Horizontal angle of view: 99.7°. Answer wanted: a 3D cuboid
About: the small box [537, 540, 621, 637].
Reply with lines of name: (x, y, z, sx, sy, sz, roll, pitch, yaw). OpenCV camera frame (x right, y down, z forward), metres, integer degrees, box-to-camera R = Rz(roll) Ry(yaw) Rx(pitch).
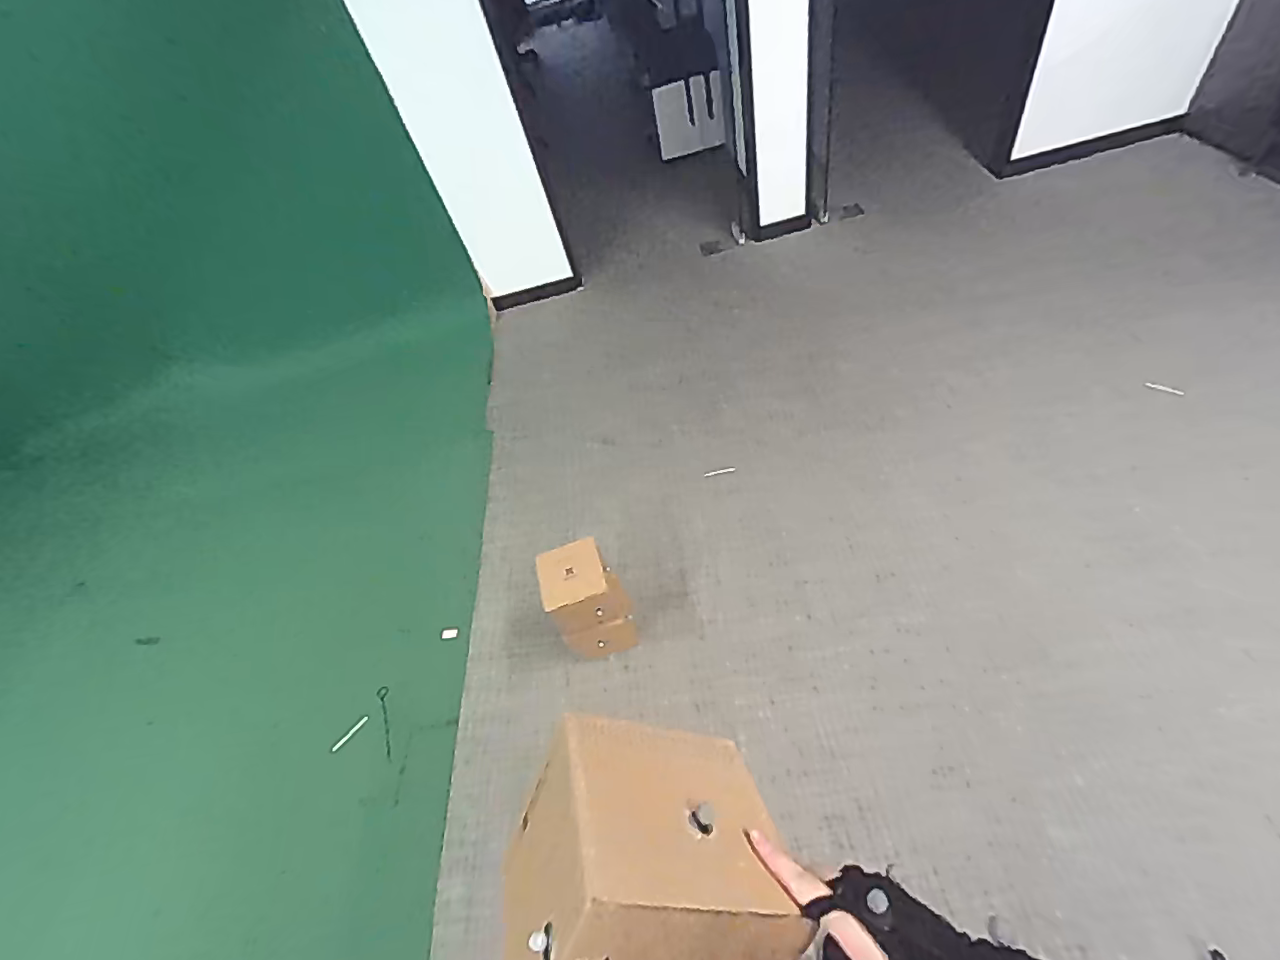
small box: (-0.159, 0.297, 1.440, 0.168, 0.176, 0.179, -19, 48, -1)

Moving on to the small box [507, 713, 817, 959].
small box: (0.001, 0.320, 0.443, 0.179, 0.168, 0.176, 19, 12, -18)
